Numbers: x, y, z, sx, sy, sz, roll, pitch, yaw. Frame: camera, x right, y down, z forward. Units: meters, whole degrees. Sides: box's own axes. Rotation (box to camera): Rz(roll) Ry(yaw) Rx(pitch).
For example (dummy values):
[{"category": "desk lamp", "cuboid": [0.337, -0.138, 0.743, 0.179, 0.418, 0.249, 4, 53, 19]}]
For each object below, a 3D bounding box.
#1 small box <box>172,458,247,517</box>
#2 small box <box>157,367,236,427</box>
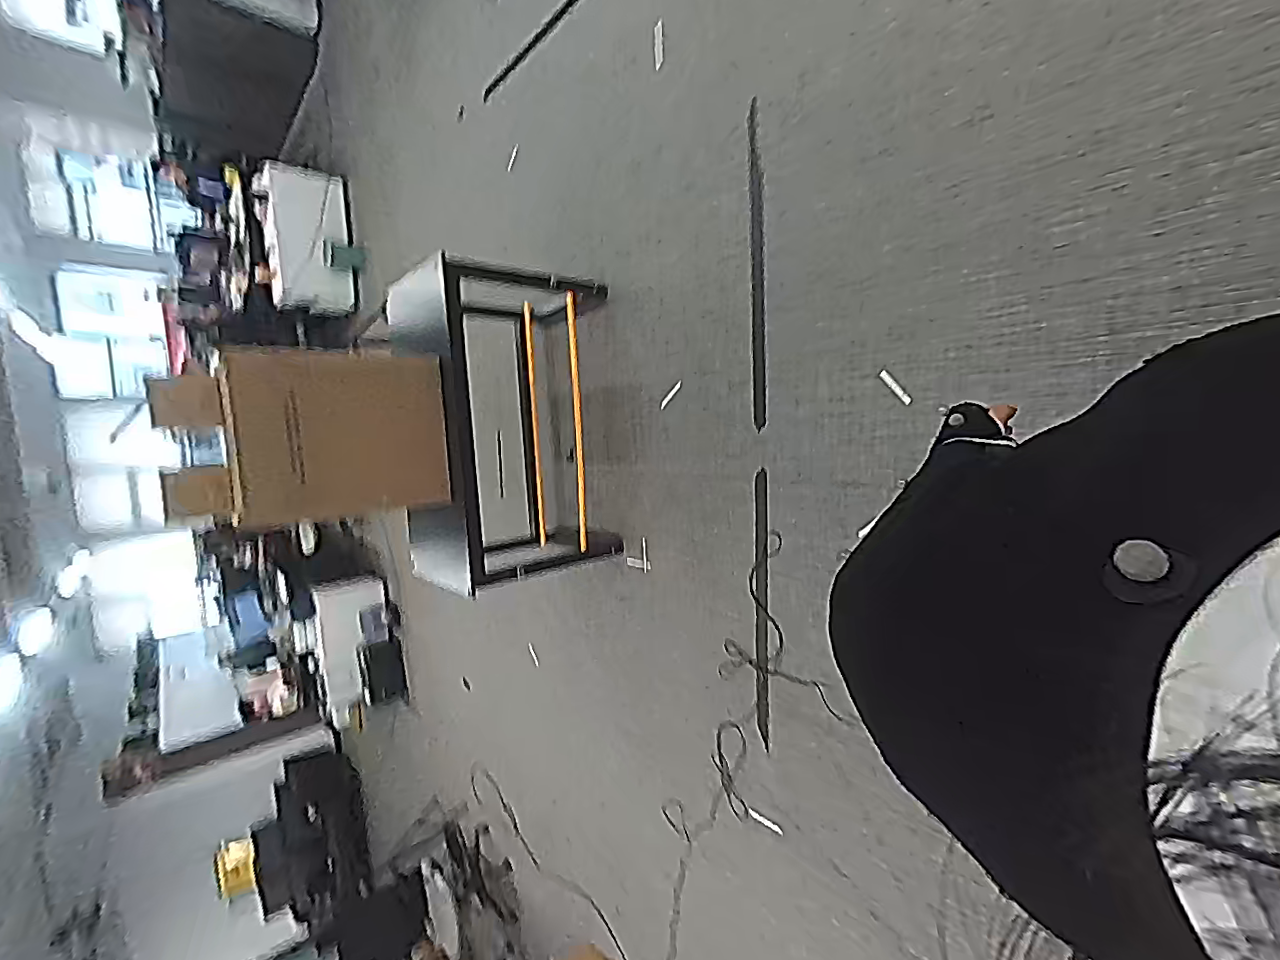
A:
[{"category": "small box", "cuboid": [-1.350, 0.019, 1.699, 0.179, 0.176, 0.168, 0, 97, 49]}, {"category": "small box", "cuboid": [-1.360, -0.251, 1.663, 0.179, 0.176, 0.168, 1, 98, 50]}]
